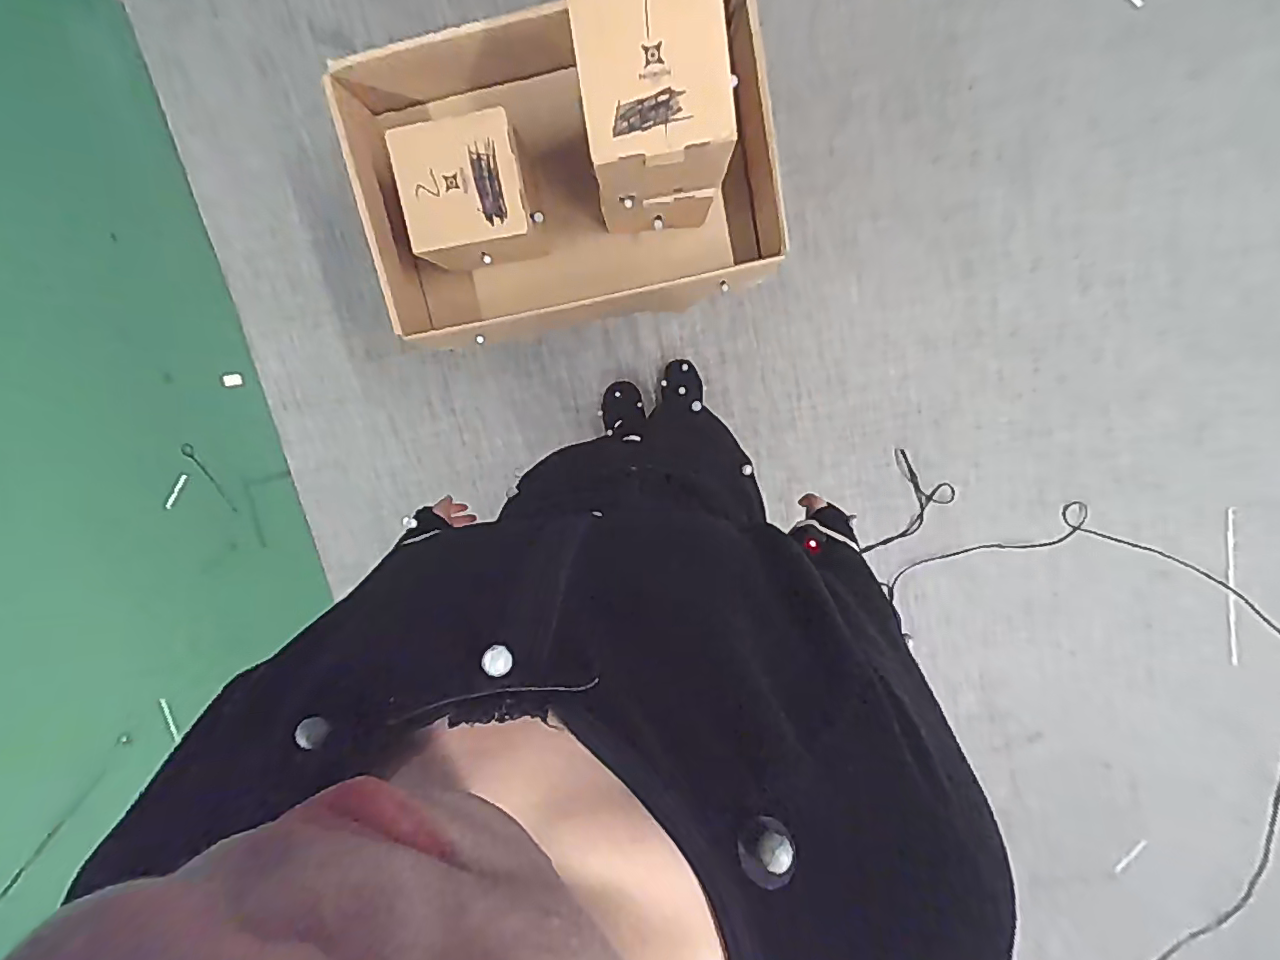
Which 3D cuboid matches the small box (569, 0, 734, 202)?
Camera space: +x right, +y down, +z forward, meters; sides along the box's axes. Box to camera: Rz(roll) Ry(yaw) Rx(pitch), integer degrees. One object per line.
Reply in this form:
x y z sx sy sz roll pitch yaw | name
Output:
0.017 -0.461 0.667 0.168 0.176 0.179 -8 101 2 | small box
